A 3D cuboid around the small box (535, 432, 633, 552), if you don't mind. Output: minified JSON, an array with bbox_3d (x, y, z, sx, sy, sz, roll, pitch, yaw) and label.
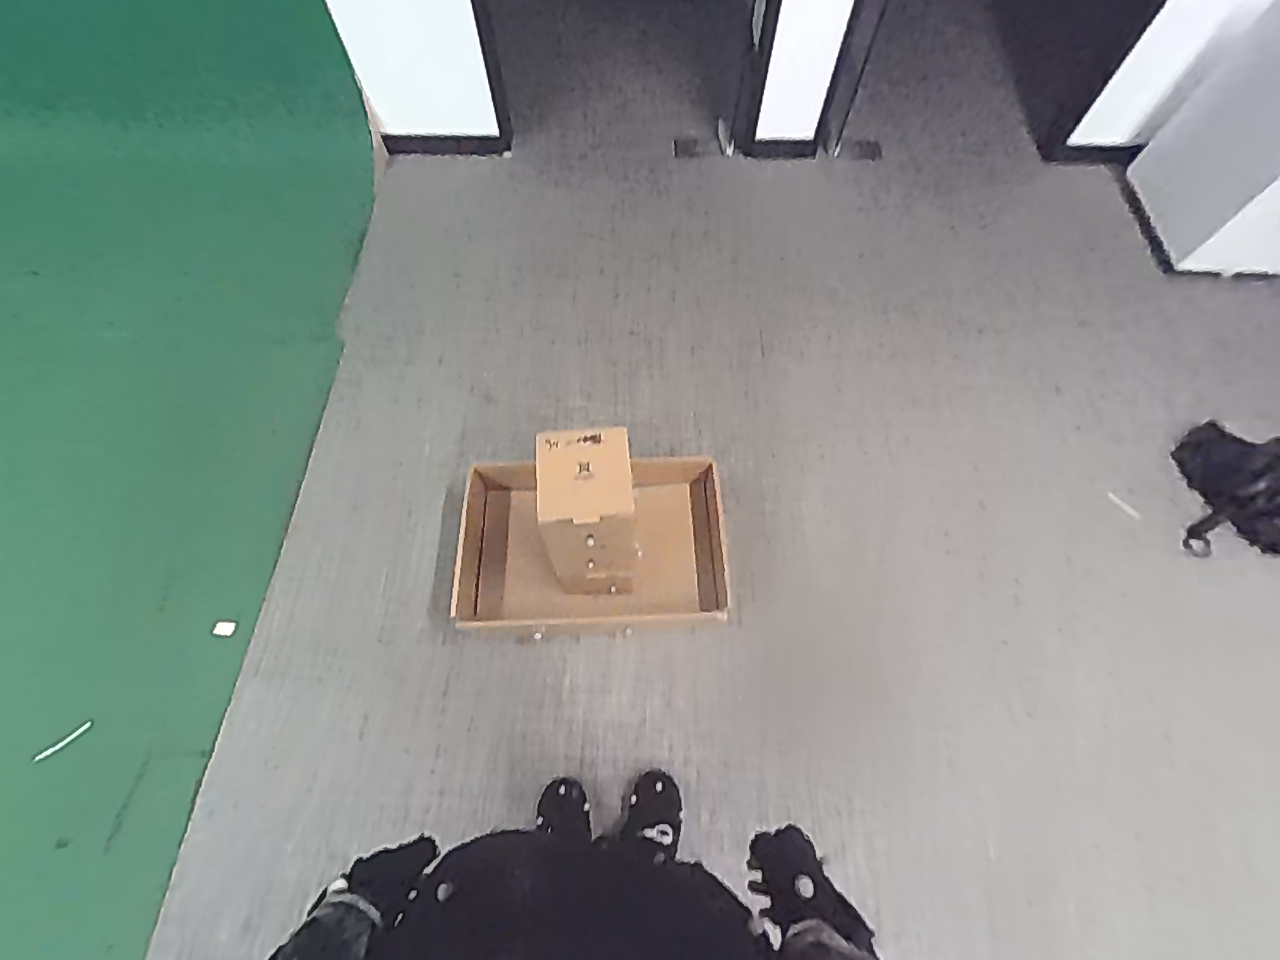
[{"bbox_3d":[-0.101,0.030,1.016,0.168,0.176,0.179,-4,64,-2],"label":"small box"}]

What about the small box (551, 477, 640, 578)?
[{"bbox_3d":[-0.098,0.105,1.162,0.179,0.176,0.168,-4,64,-4],"label":"small box"}]

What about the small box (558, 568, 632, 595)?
[{"bbox_3d":[-0.102,0.175,1.309,0.168,0.176,0.179,0,62,-1],"label":"small box"}]
